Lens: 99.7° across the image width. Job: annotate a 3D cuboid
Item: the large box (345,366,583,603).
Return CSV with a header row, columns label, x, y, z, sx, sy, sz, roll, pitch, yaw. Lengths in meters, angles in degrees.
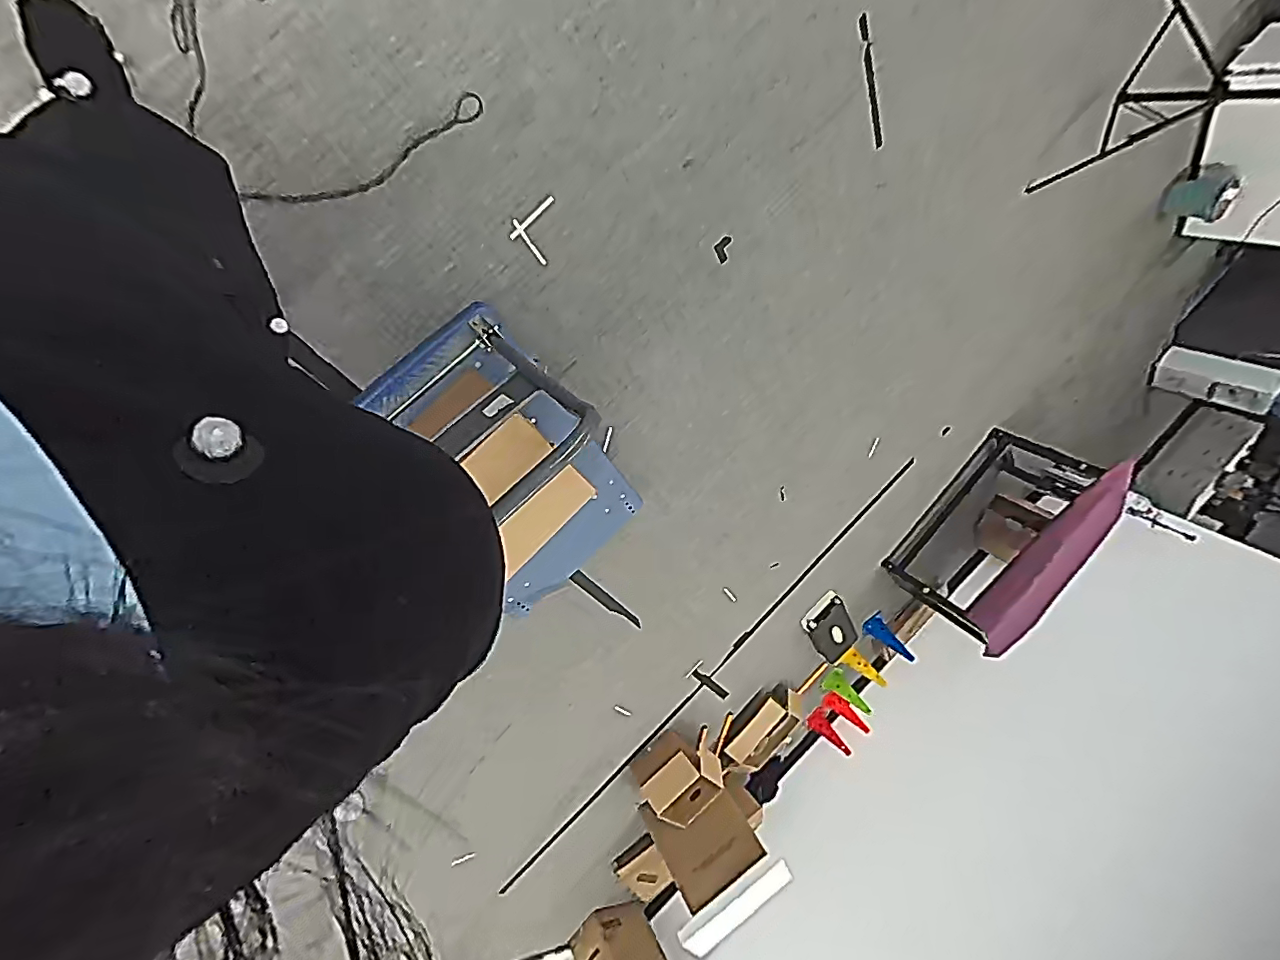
label,x,y,z,sx,sy,sz,roll,pitch,yaw
large box,-0.420,0.005,1.297,0.408,0.320,0.320,-45,133,-3
